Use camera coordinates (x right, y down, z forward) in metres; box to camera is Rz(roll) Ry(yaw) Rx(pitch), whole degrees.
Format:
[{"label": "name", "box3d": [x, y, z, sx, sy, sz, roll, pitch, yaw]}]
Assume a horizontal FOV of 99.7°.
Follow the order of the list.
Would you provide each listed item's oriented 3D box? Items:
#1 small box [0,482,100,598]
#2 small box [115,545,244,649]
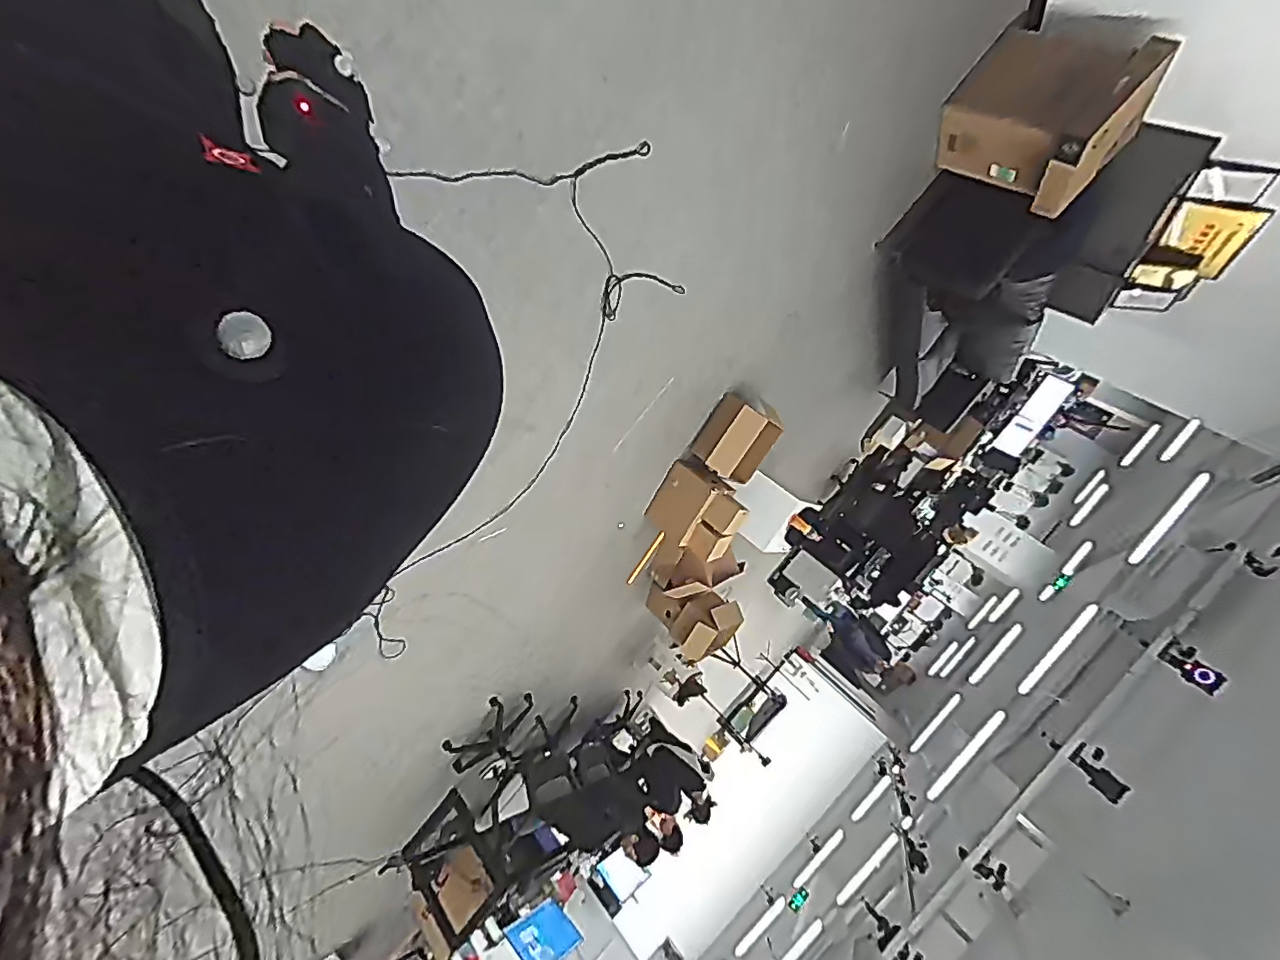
[{"label": "small box", "box3d": [-1.342, 0.134, 1.182, 0.179, 0.176, 0.168, -52, 151, 5]}, {"label": "small box", "box3d": [-1.126, 0.287, 1.318, 0.179, 0.176, 0.168, -50, 153, 1]}]
